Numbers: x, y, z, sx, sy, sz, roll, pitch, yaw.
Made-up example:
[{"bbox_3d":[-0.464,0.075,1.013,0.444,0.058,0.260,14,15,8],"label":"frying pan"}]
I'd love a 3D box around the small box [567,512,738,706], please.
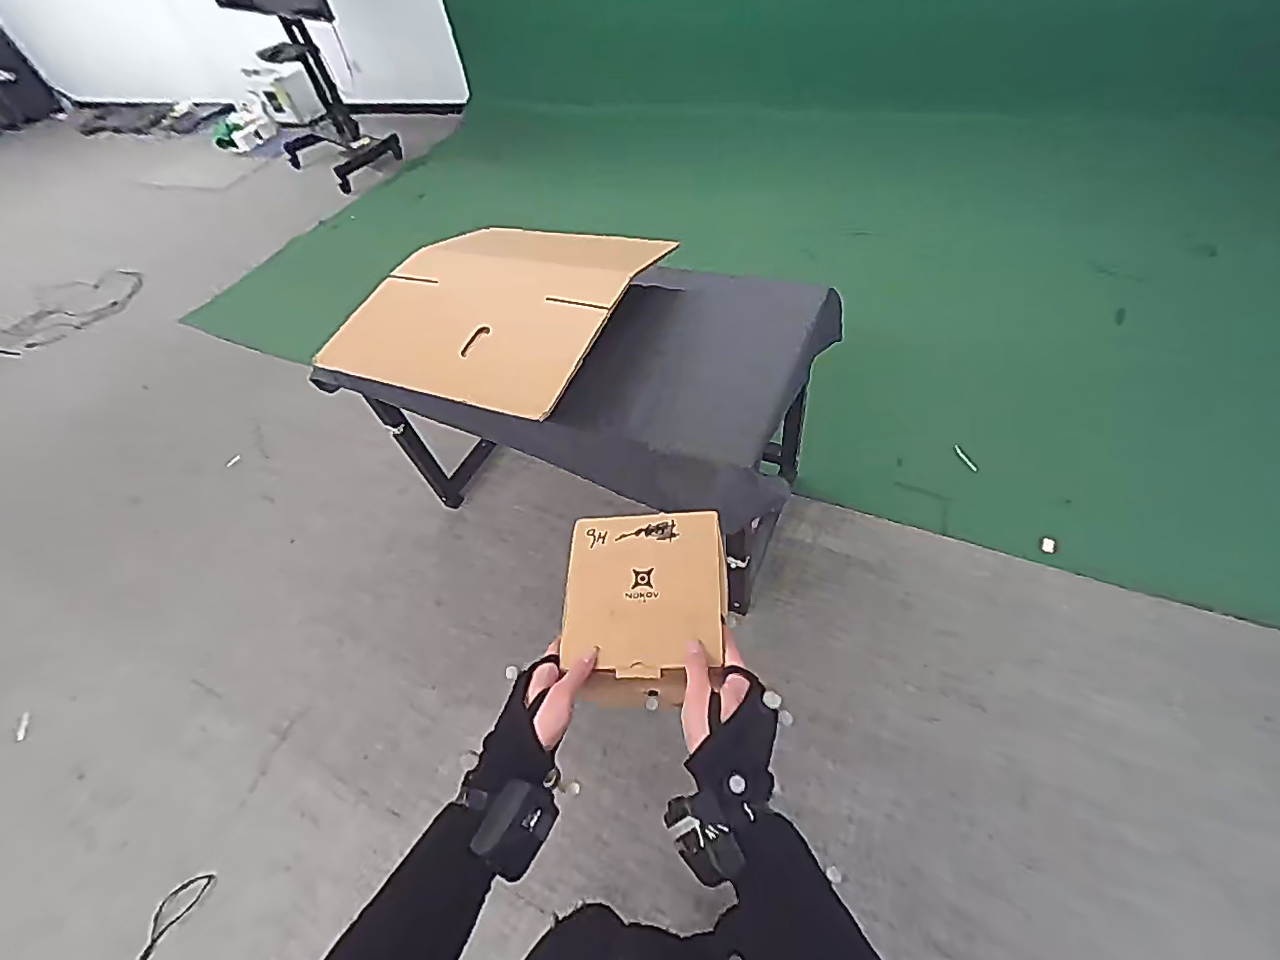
[{"bbox_3d":[0.022,0.161,0.640,0.168,0.176,0.179,-7,54,9],"label":"small box"}]
